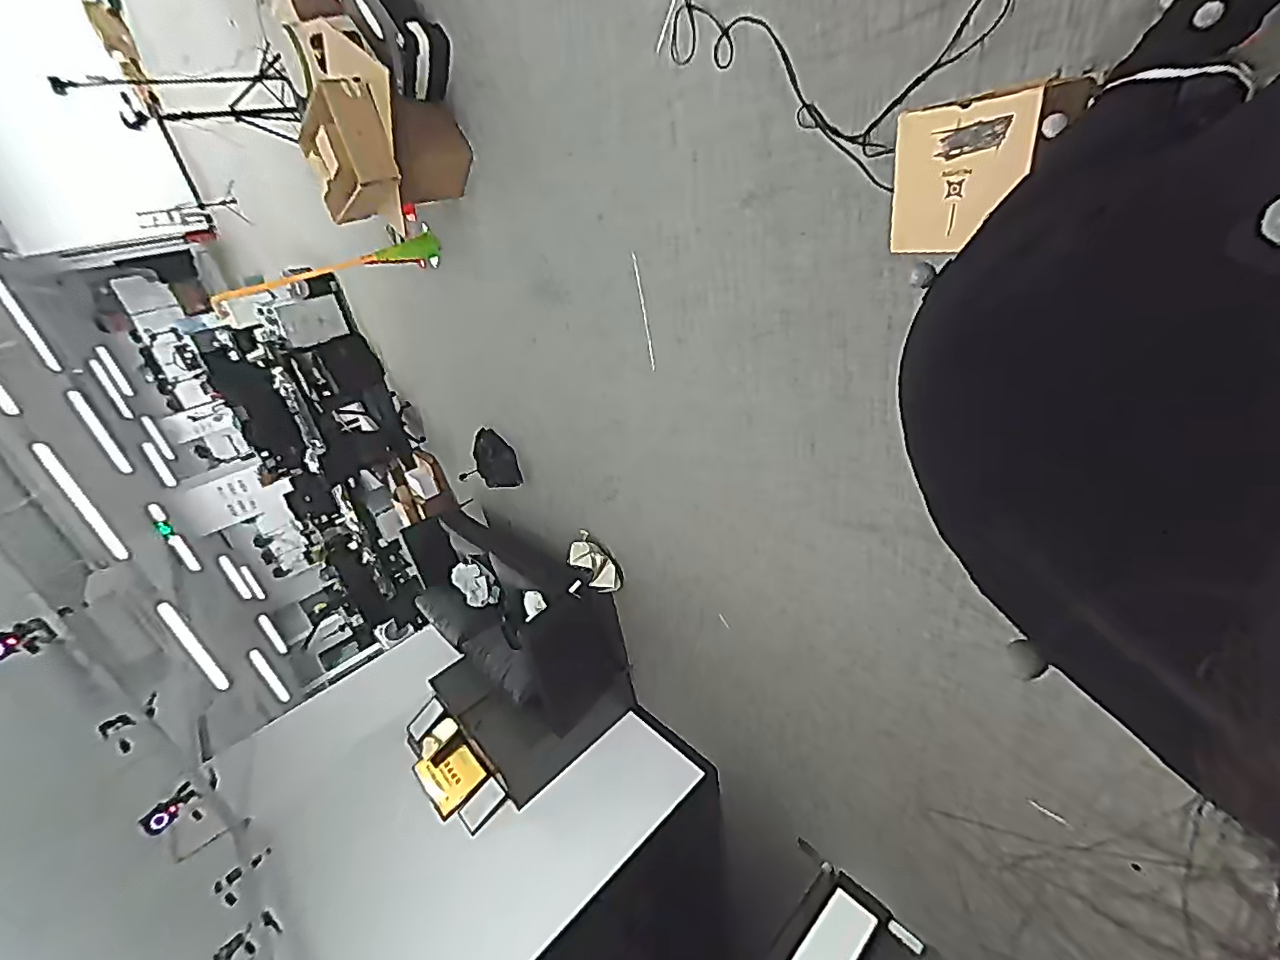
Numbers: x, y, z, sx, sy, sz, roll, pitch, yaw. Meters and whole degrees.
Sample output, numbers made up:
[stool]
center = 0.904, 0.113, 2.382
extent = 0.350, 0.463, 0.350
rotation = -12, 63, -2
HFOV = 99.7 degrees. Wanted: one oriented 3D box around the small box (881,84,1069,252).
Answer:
[small box]
center = 0.458, -0.428, 0.747
extent = 0.168, 0.176, 0.179
rotation = 23, 136, 43
